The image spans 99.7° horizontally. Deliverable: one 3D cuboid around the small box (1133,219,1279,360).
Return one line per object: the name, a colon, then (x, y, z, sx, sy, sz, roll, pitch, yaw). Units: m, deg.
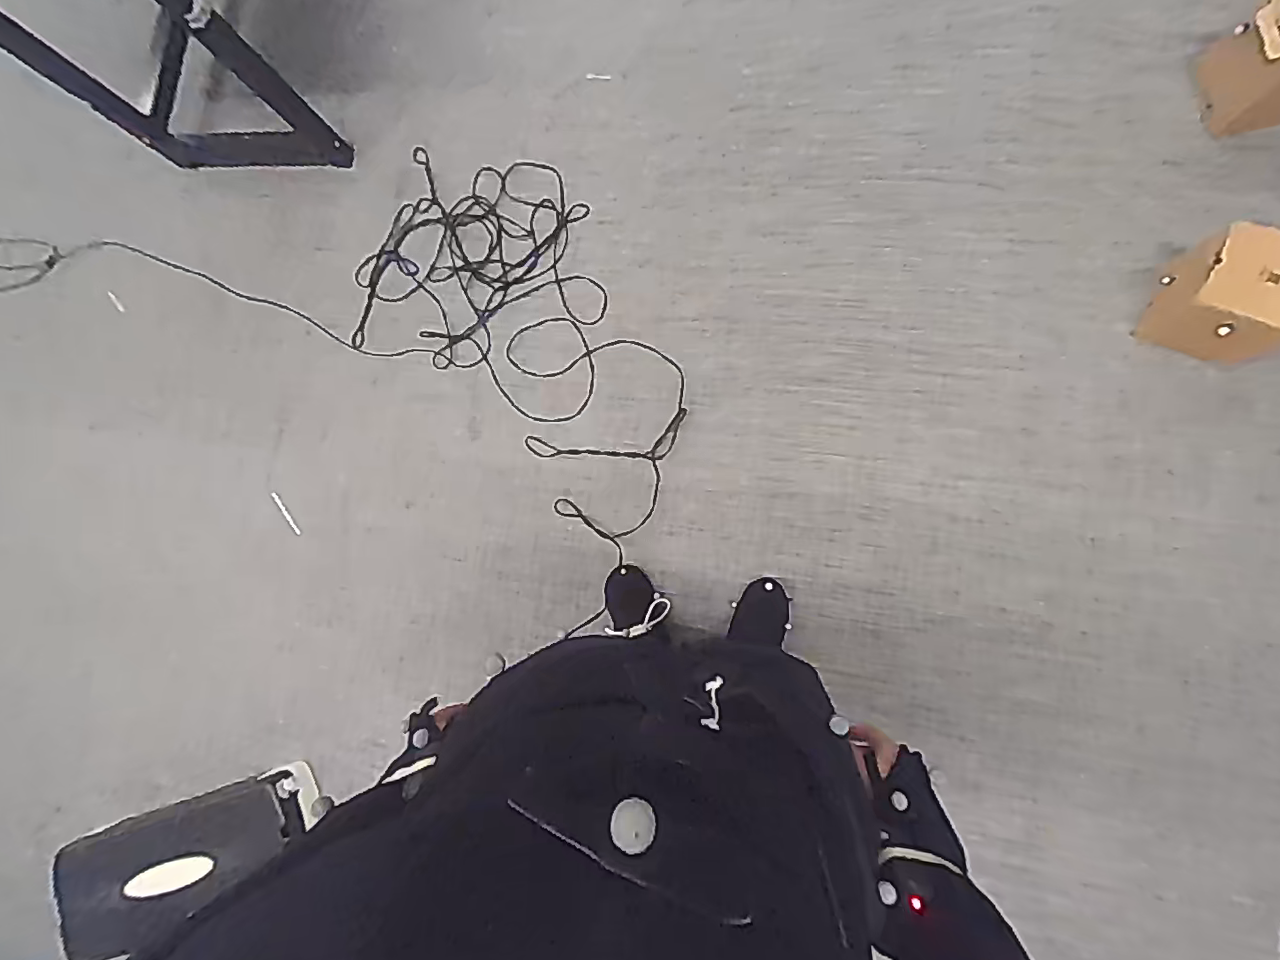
small box: (1.097, -0.342, 1.007, 0.179, 0.176, 0.168, 26, 89, 12)
